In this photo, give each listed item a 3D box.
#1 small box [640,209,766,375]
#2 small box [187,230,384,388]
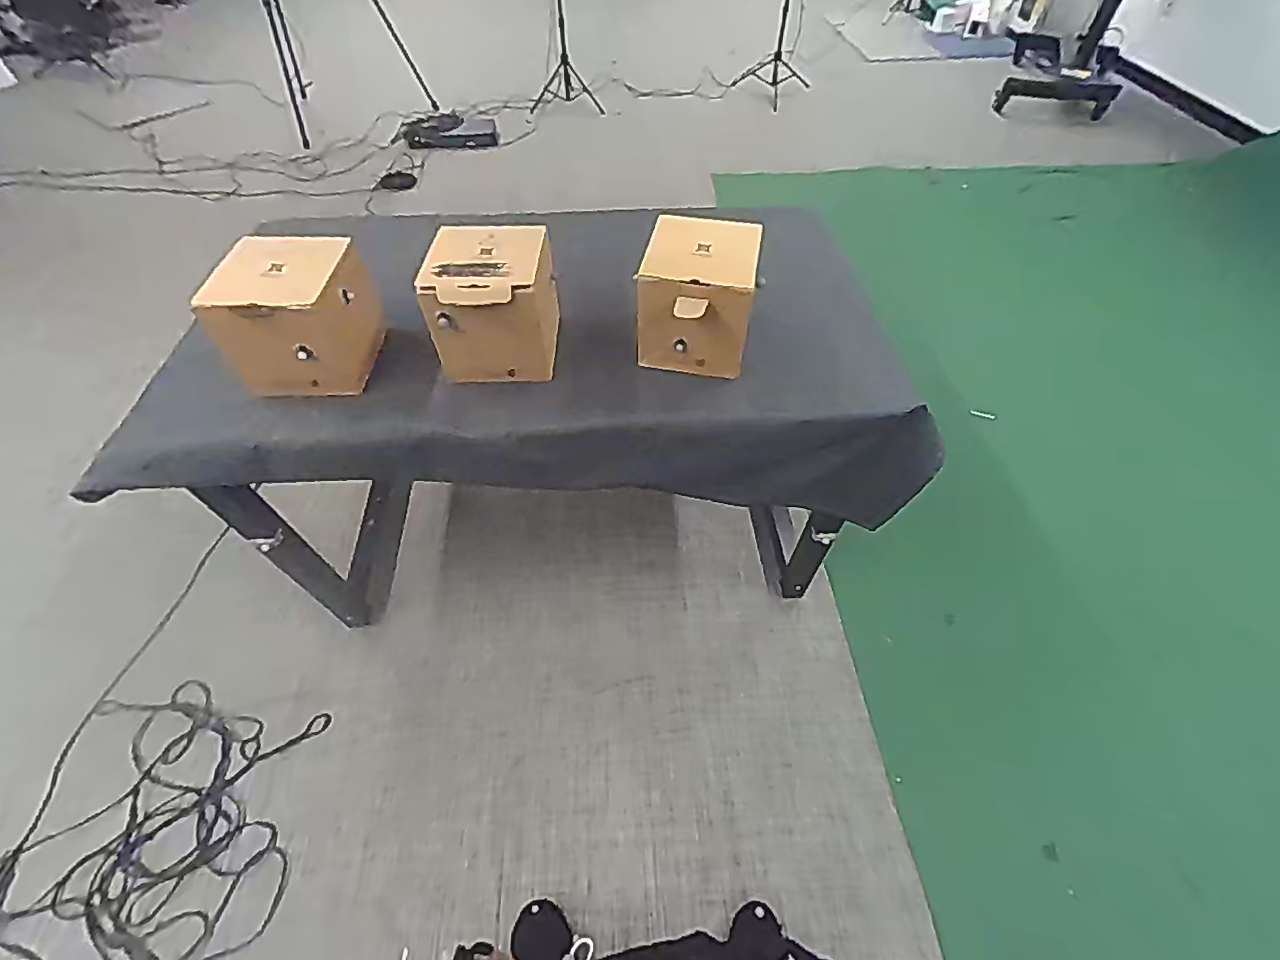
[{"bbox_3d":[0.095,-0.296,0.856,0.168,0.176,0.179,10,54,7],"label":"small box"},{"bbox_3d":[-0.515,-0.256,0.821,0.168,0.176,0.179,0,52,-2],"label":"small box"}]
